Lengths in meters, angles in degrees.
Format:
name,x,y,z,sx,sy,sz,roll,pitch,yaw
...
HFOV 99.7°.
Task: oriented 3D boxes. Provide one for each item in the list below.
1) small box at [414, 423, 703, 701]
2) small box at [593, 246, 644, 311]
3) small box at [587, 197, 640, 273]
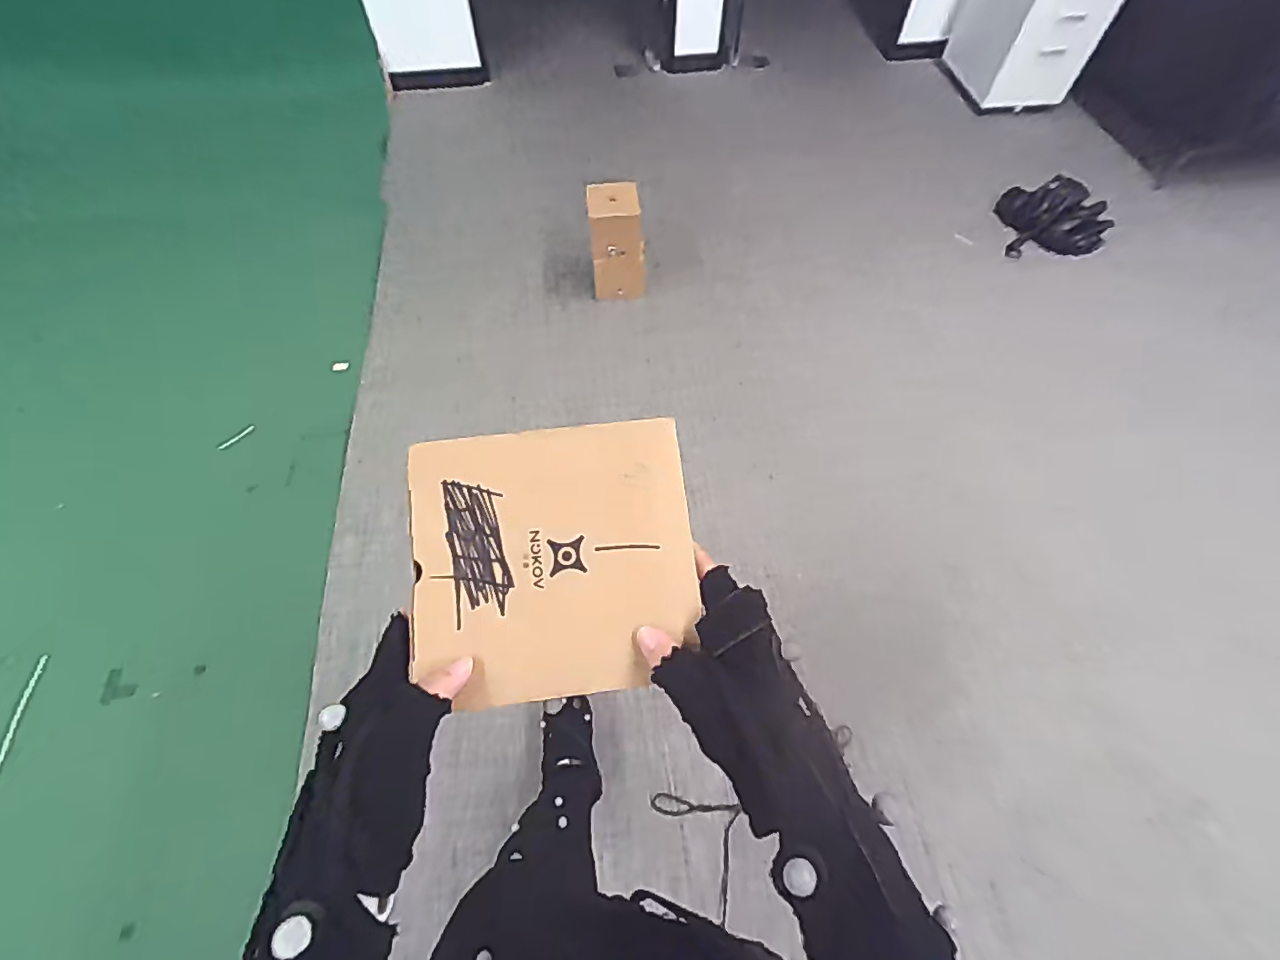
name,x,y,z,sx,sy,sz,roll,pitch,yaw
small box,-0.058,0.067,0.421,0.179,0.176,0.168,-6,75,-4
small box,-0.081,-0.735,1.967,0.179,0.176,0.168,-4,59,-4
small box,-0.088,-0.828,1.833,0.168,0.176,0.179,-6,60,-2
